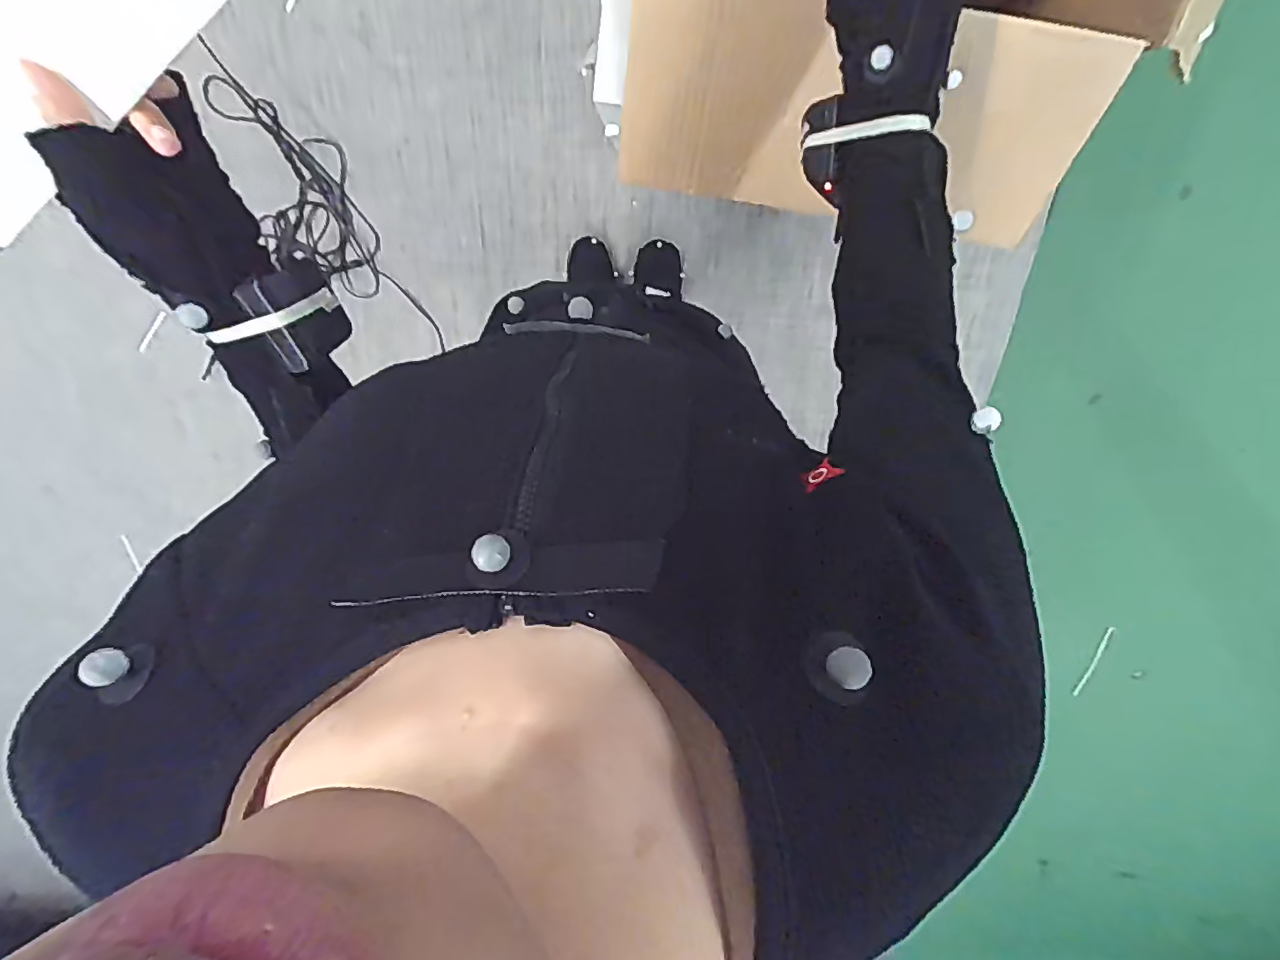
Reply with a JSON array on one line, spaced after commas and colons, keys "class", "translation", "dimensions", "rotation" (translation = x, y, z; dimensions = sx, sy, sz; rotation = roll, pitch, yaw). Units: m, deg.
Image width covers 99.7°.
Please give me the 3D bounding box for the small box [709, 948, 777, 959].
[{"class": "small box", "translation": [0.250, 1.246, 1.272], "dimensions": [0.168, 0.176, 0.179], "rotation": [1, 116, -1]}]
